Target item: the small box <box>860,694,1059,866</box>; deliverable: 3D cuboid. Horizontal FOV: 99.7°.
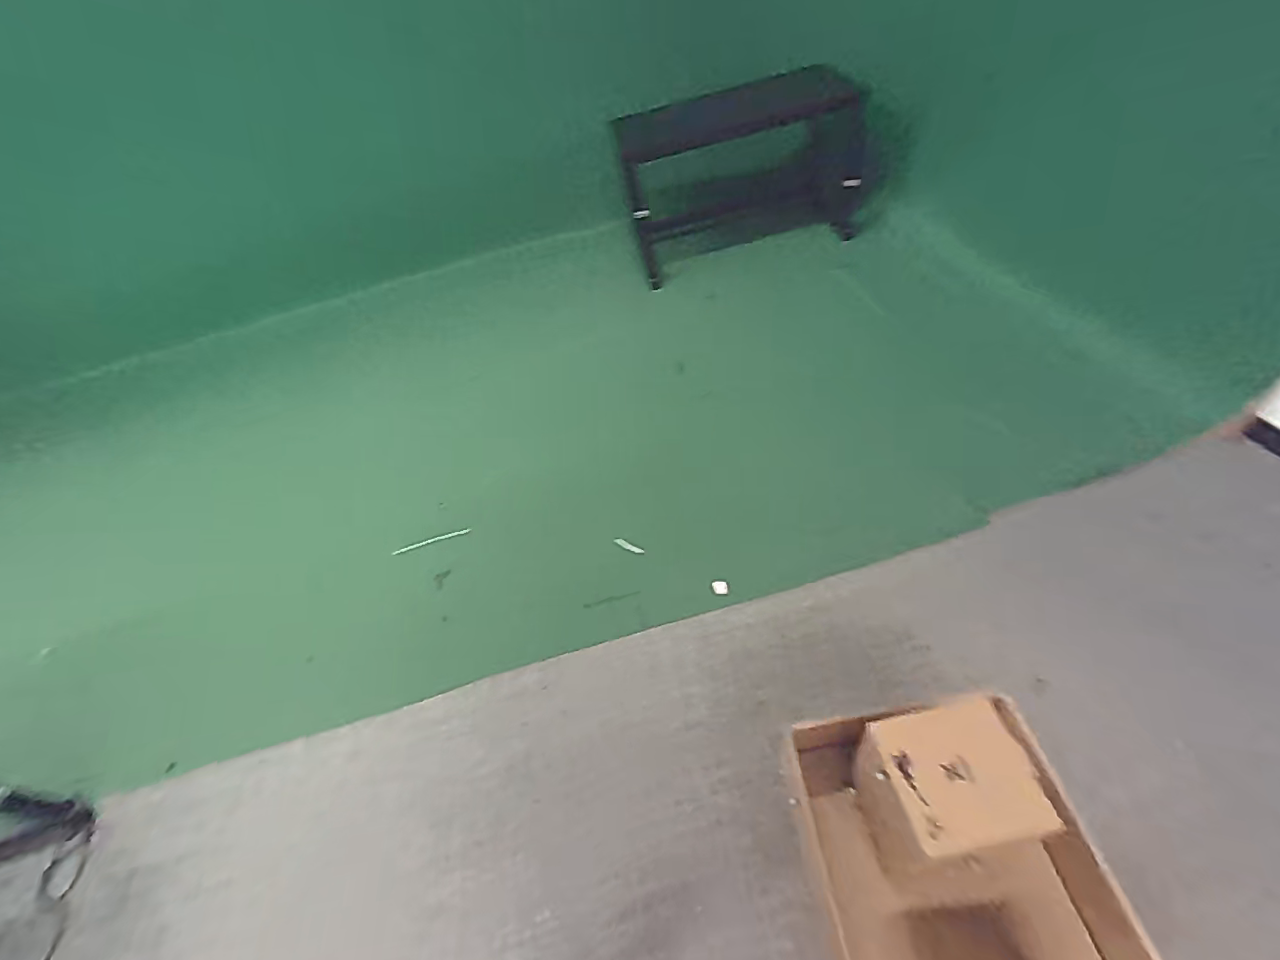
[{"bbox_3d":[0.439,0.436,0.781,0.179,0.176,0.168,-14,46,3],"label":"small box"}]
